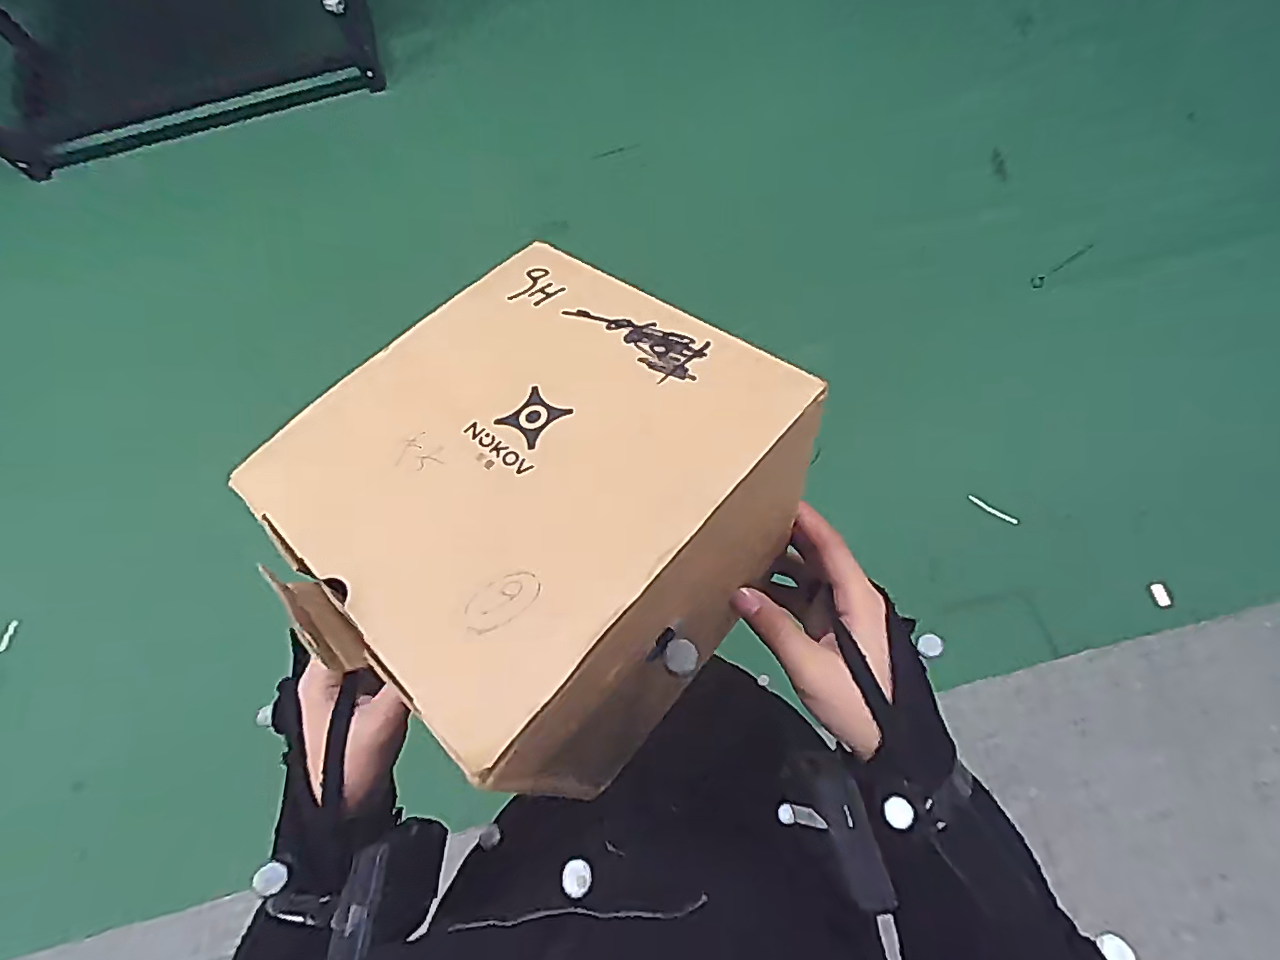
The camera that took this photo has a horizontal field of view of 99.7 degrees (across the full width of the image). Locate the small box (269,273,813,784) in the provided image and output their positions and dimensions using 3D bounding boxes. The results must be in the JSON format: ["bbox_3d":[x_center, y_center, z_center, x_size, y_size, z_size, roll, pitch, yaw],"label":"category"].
[{"bbox_3d":[-0.033,0.033,0.289,0.168,0.176,0.179,34,69,25],"label":"small box"}]
